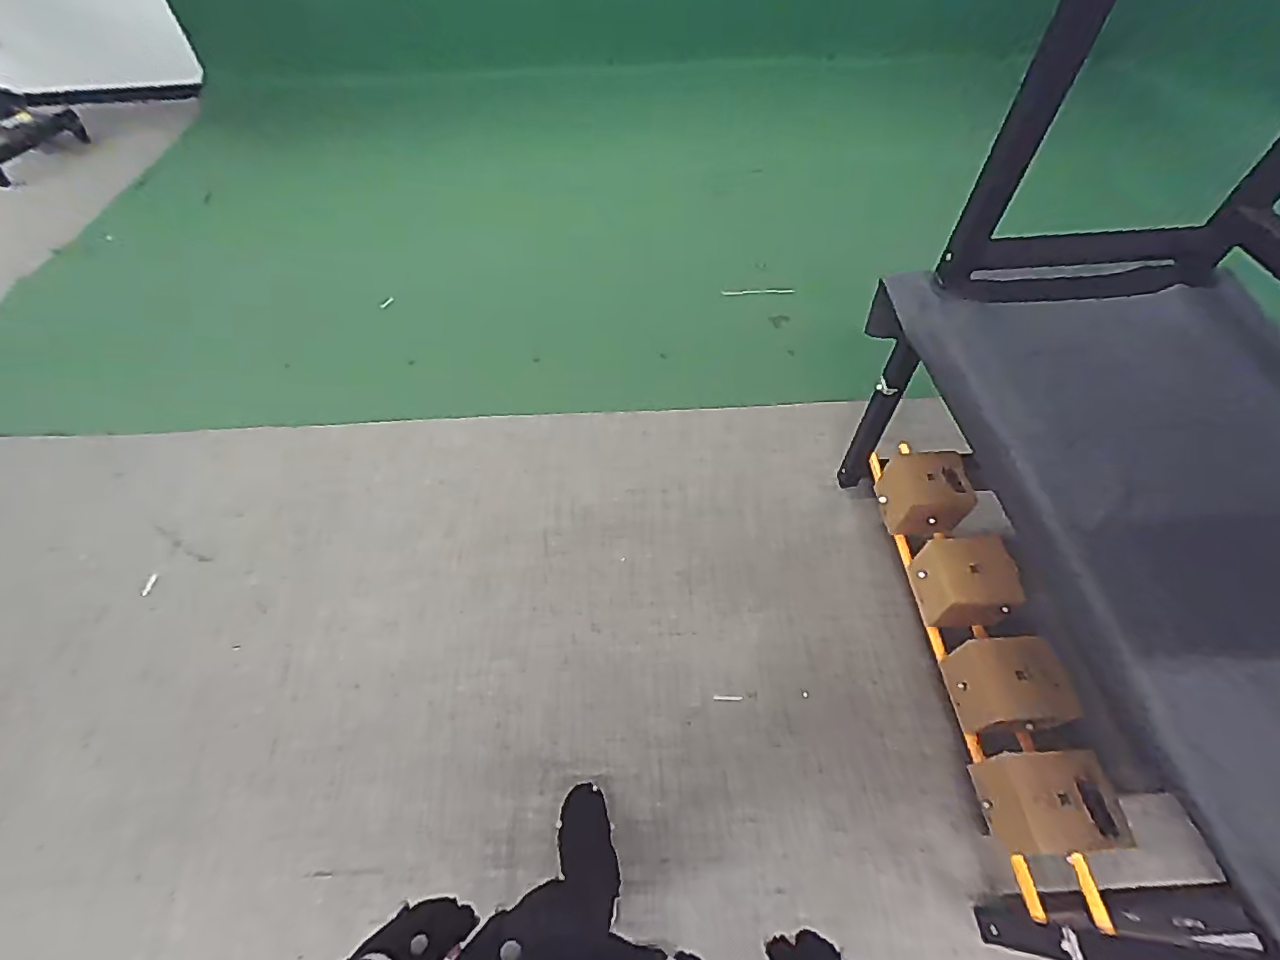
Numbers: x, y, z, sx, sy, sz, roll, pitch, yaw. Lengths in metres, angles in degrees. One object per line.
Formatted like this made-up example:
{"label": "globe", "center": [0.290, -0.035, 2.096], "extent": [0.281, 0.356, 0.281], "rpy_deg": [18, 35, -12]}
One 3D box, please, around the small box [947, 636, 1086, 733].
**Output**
{"label": "small box", "center": [0.812, 0.457, 1.197], "extent": [0.179, 0.176, 0.168], "rpy_deg": [-4, 56, 1]}

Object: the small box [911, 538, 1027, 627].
{"label": "small box", "center": [0.797, 0.257, 1.339], "extent": [0.179, 0.176, 0.168], "rpy_deg": [-3, 56, 2]}
